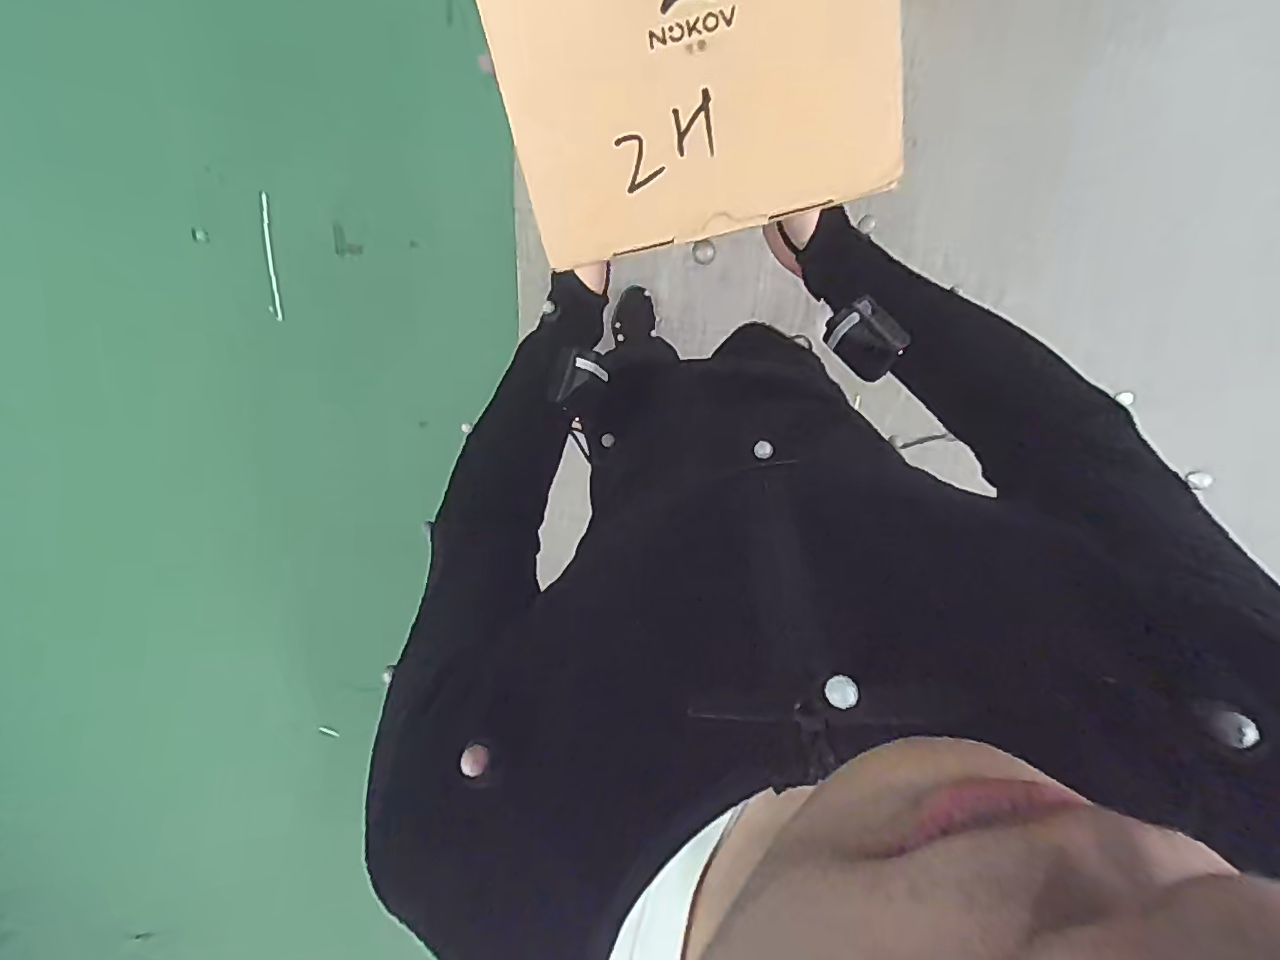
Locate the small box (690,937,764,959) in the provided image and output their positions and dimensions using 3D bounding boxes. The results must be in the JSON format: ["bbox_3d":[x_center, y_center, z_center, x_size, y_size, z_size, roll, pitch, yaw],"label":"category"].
[{"bbox_3d":[0.196,1.161,1.200,0.168,0.176,0.179,2,109,0],"label":"small box"}]

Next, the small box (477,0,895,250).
[{"bbox_3d":[0.018,-0.230,0.288,0.168,0.176,0.179,-10,113,8],"label":"small box"}]
